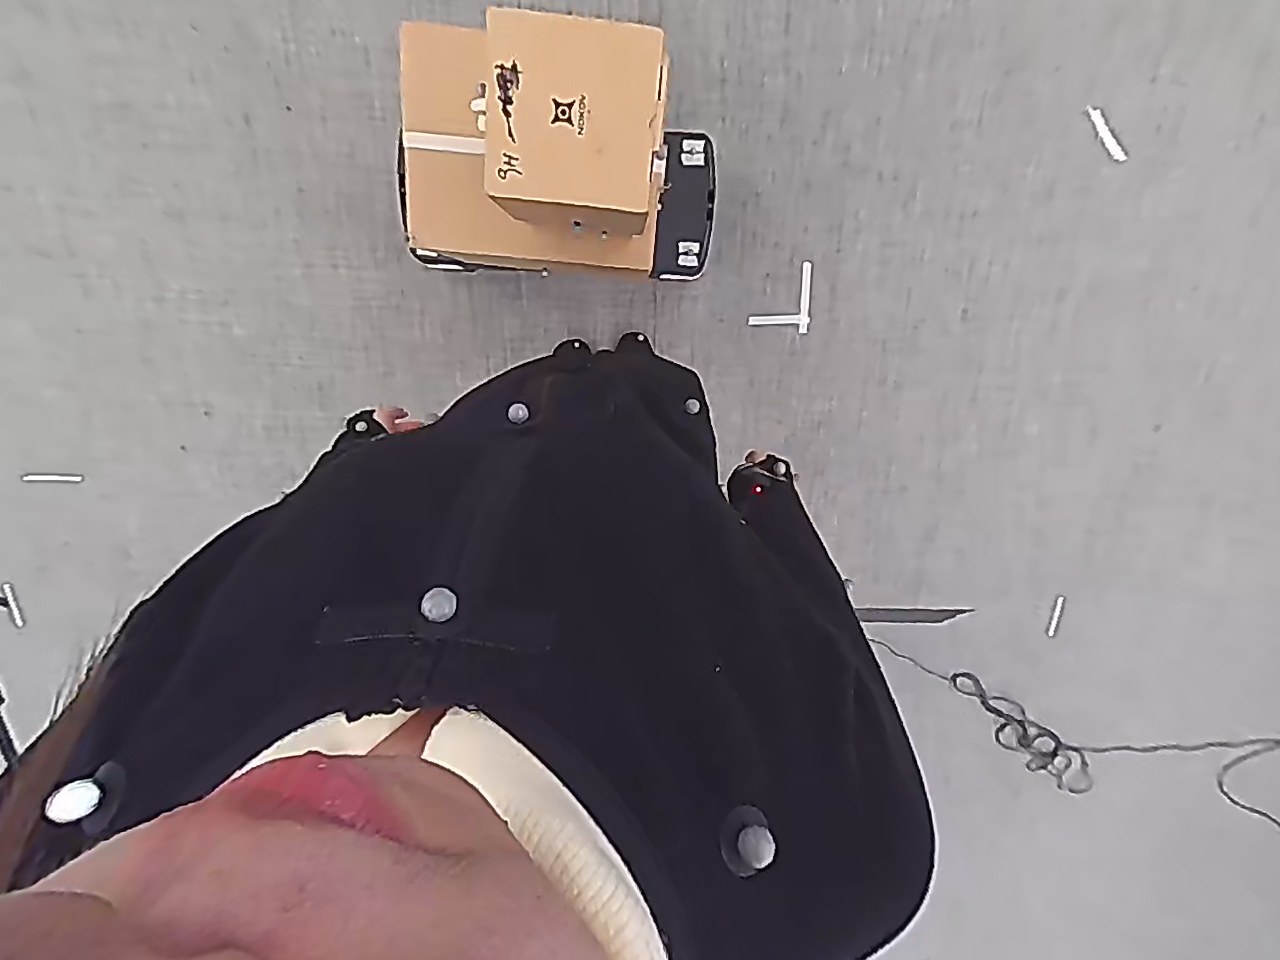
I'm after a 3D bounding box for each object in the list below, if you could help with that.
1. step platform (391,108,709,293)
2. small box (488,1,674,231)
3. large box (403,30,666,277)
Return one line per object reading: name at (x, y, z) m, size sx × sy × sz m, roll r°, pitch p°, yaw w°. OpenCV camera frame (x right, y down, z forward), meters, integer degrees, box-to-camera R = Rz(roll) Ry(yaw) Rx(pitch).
step platform at (-0.190, -0.611, 1.217) m, size 0.684 × 0.204 × 0.286 m, roll 7°, pitch 107°, yaw -3°
small box at (-0.066, -0.388, 0.612) m, size 0.179 × 0.176 × 0.168 m, roll 5°, pitch 106°, yaw -4°
large box at (-0.163, -0.551, 0.987) m, size 0.408 × 0.320 × 0.320 m, roll 4°, pitch 106°, yaw -2°
